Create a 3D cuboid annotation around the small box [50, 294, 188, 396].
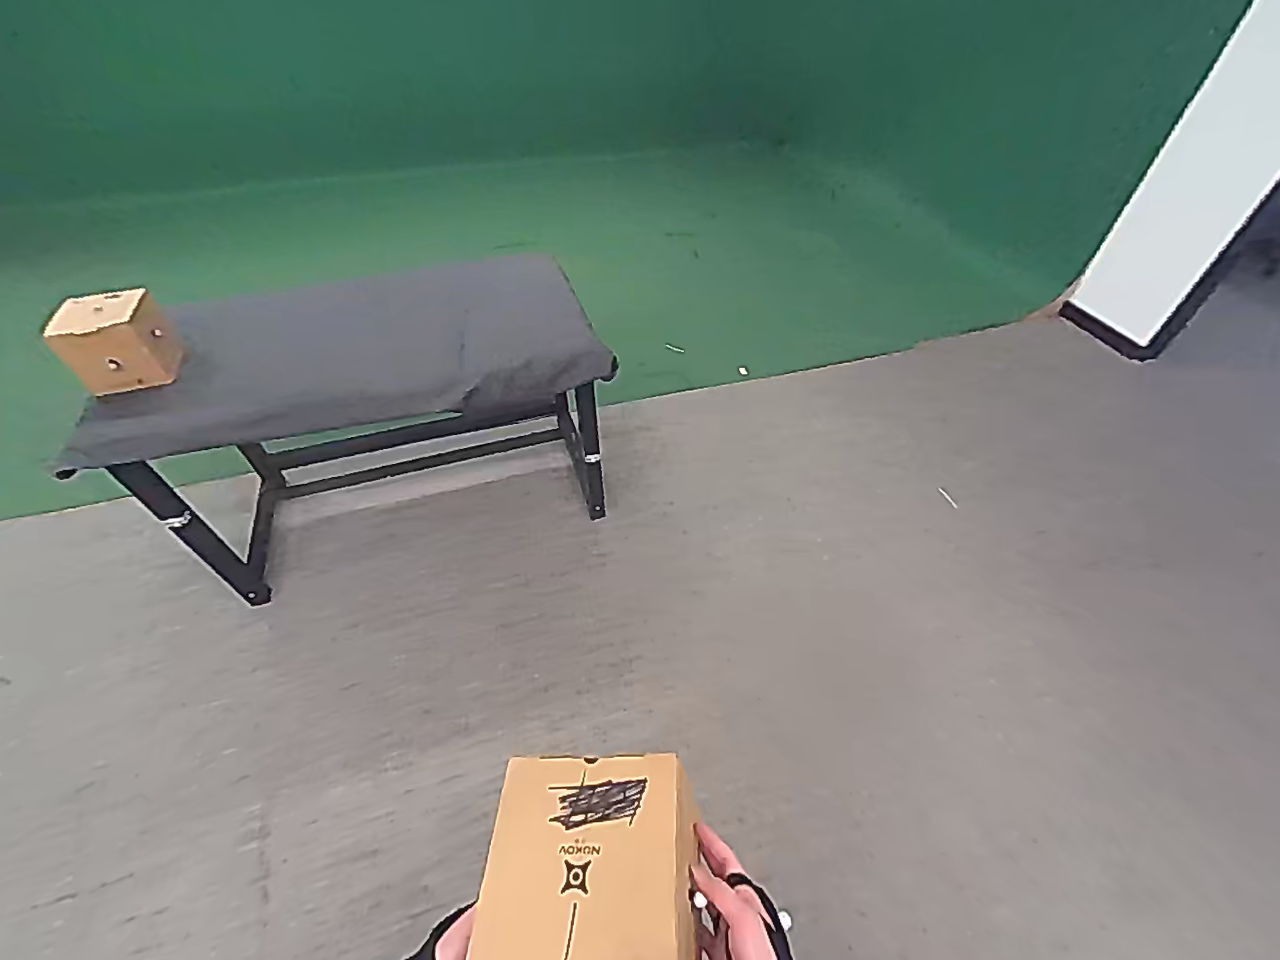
[{"bbox_3d":[-1.245,-0.321,1.312,0.168,0.176,0.179,-15,50,-15],"label":"small box"}]
